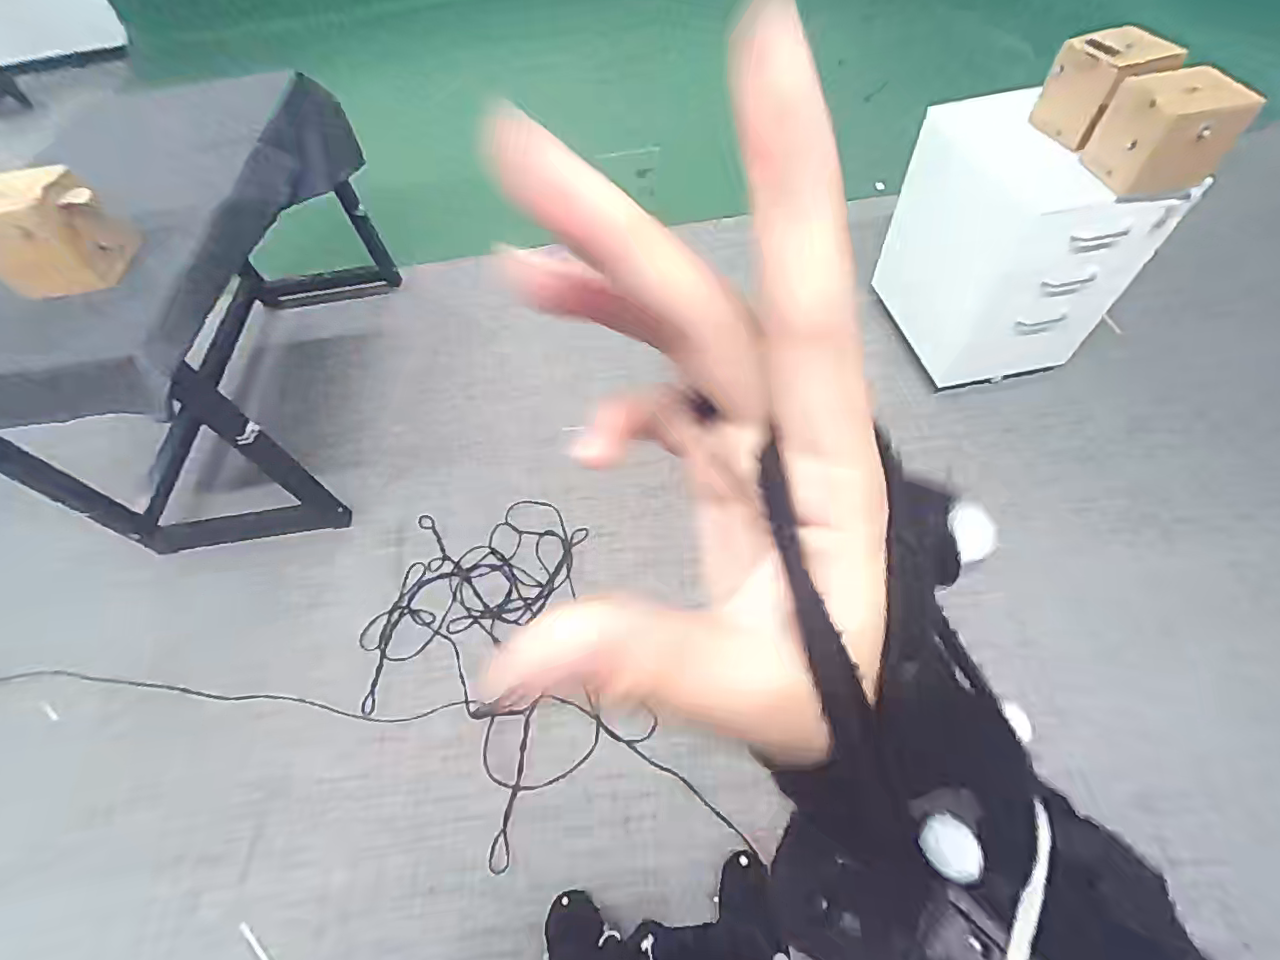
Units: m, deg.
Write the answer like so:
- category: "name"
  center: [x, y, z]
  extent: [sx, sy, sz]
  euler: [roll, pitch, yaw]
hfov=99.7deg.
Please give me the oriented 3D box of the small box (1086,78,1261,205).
- category: "small box"
  center: [1.093, -0.704, 1.135]
  extent: [0.179, 0.176, 0.168]
  euler: [-8, 56, 1]

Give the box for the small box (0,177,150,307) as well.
- category: "small box"
  center: [-1.152, -0.466, 1.074]
  extent: [0.179, 0.176, 0.168]
  euler: [-9, 55, 0]
